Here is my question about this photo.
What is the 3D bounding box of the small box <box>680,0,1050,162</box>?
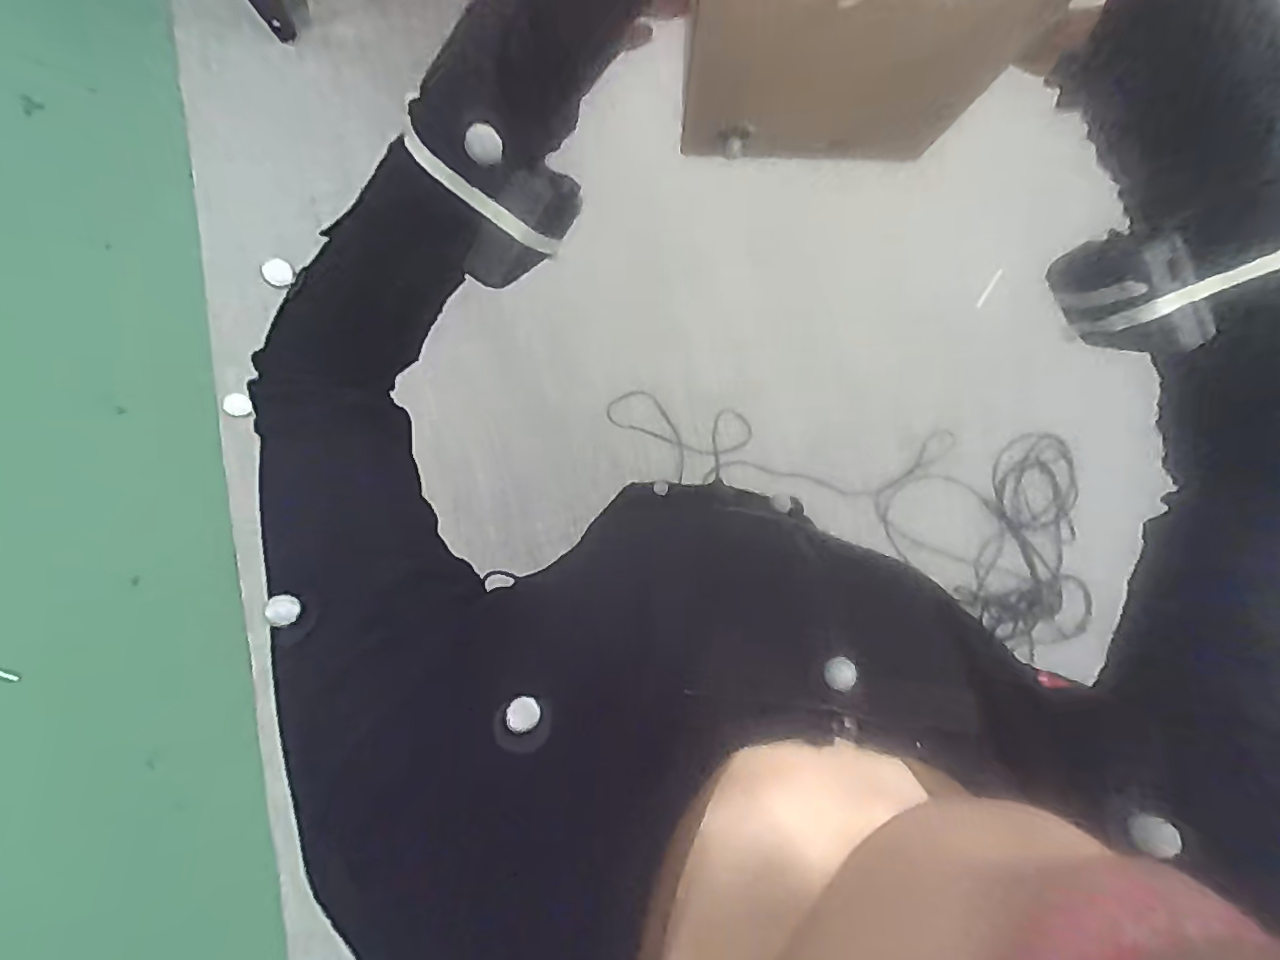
[{"bbox_3d":[0.110,-0.296,0.286,0.168,0.176,0.179,2,94,0],"label":"small box"}]
